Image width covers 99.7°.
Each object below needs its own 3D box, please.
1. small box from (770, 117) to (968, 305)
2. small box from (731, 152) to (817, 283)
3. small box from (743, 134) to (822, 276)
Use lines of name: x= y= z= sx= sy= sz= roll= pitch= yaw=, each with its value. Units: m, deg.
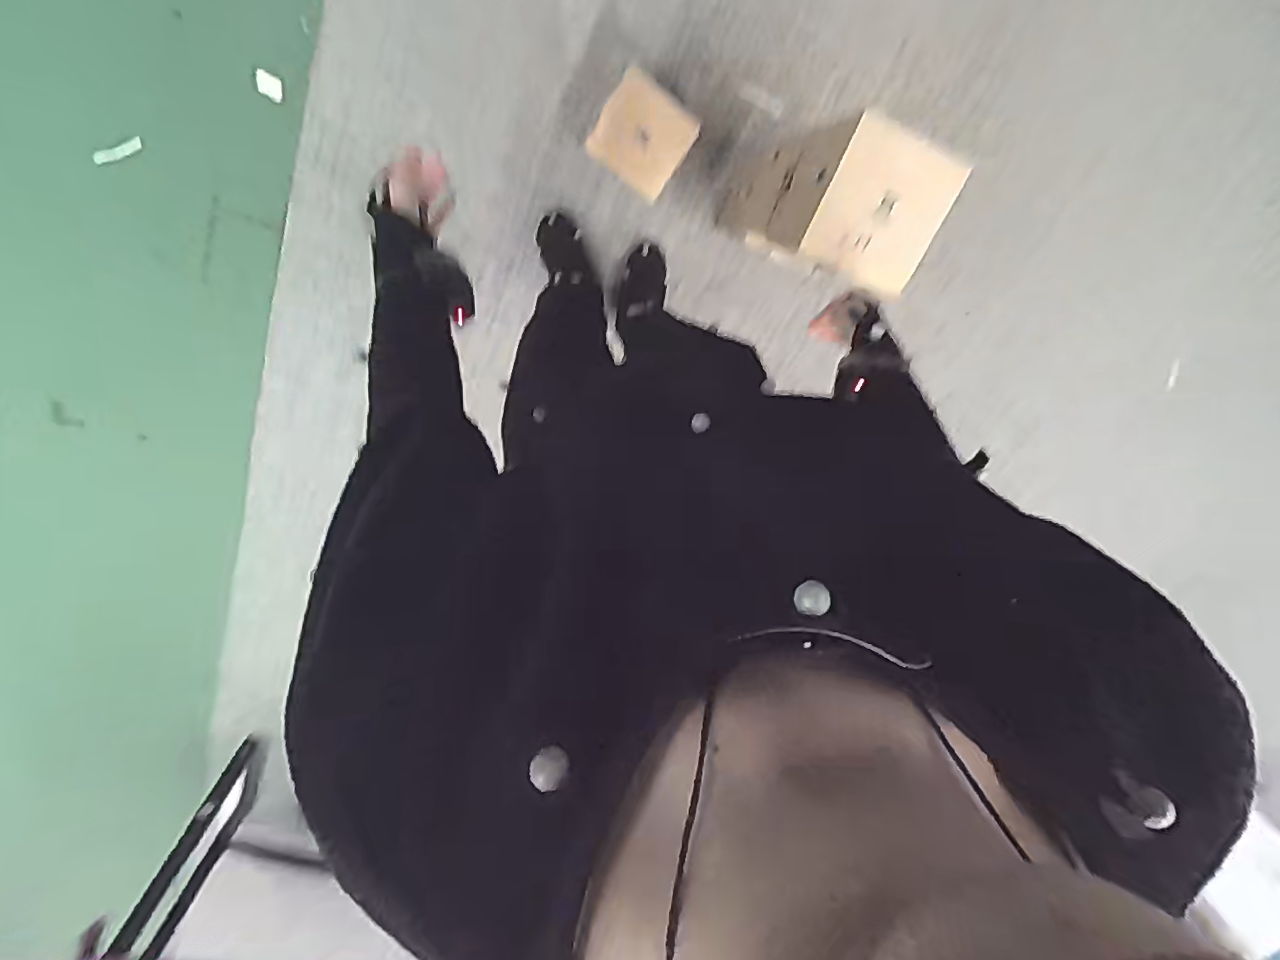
small box: x=0.307 y=-0.375 z=0.771 sx=0.168 sy=0.176 sz=0.179 roll=19 pitch=114 yaw=-12
small box: x=0.294 y=-0.517 z=1.069 sx=0.168 sy=0.176 sz=0.179 roll=19 pitch=115 yaw=-13
small box: x=0.297 y=-0.451 z=0.918 sx=0.179 sy=0.176 sz=0.168 roll=20 pitch=114 yaw=-13
